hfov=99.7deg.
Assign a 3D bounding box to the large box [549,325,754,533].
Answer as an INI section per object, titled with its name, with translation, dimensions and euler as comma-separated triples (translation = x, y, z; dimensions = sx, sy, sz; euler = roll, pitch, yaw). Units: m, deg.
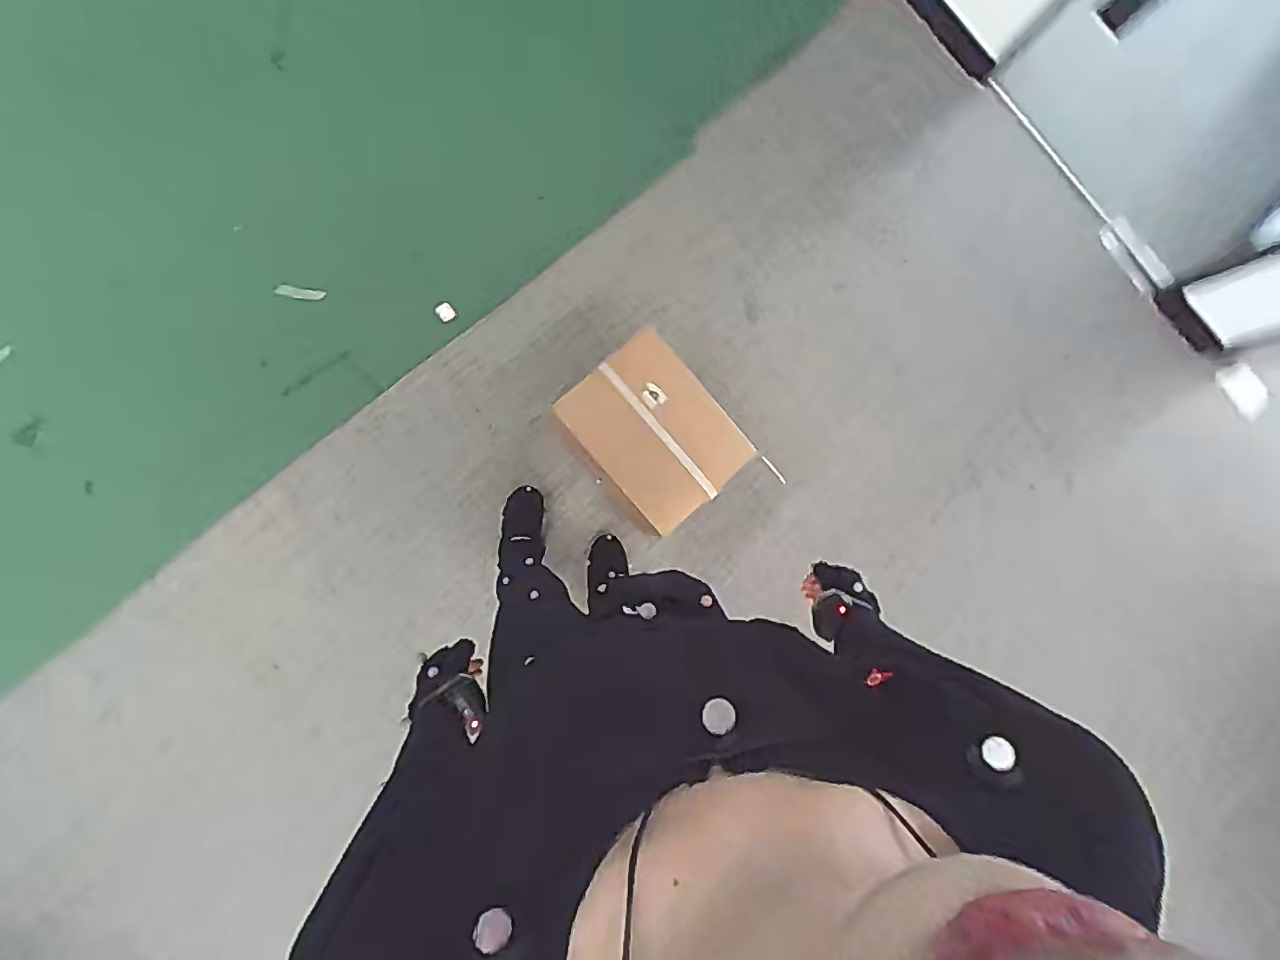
[large box]
translation = 0.015, -0.110, 1.401
dimensions = 0.320, 0.320, 0.408
euler = -41, 92, -10
